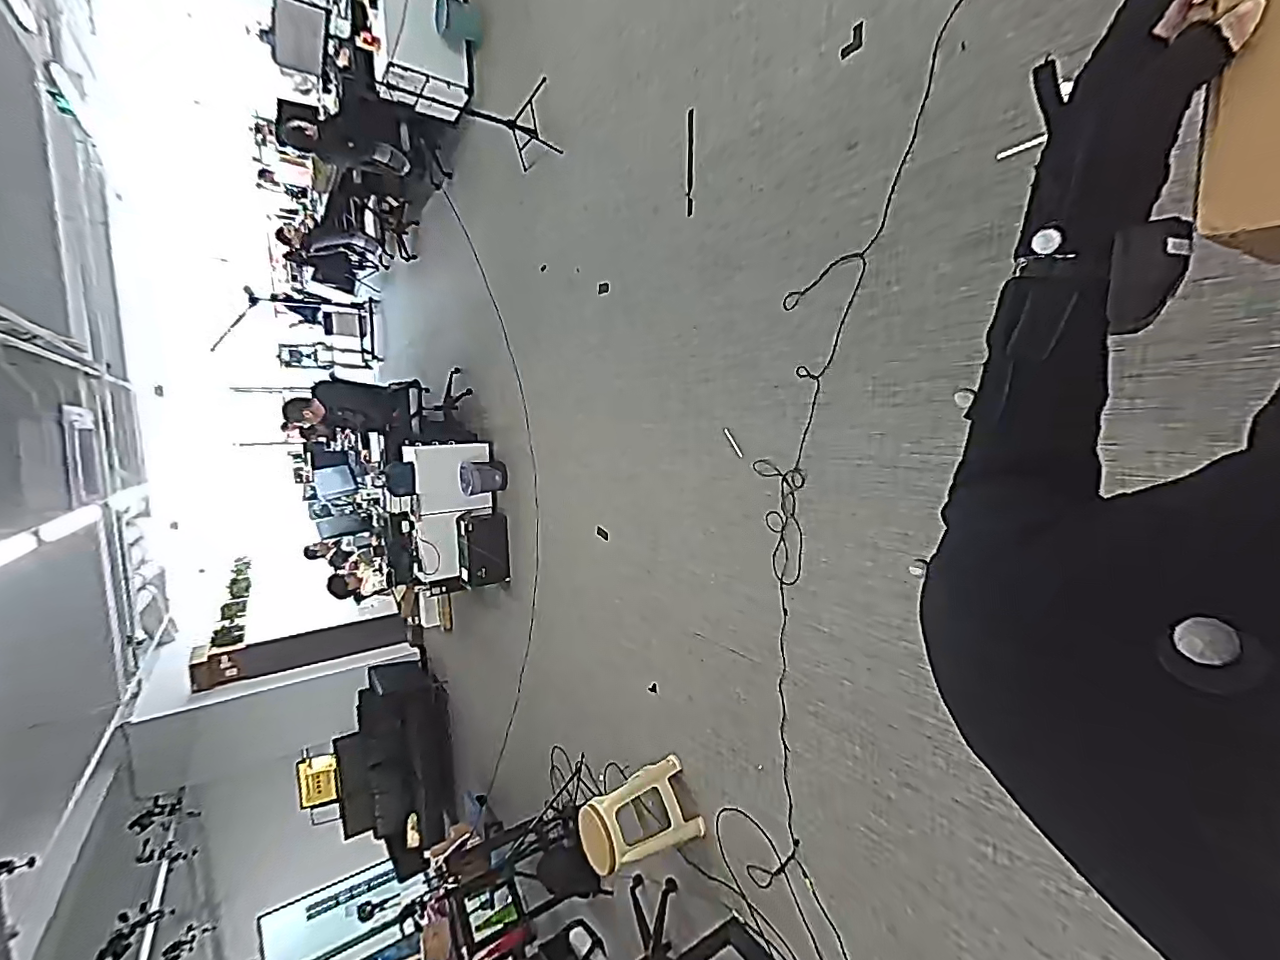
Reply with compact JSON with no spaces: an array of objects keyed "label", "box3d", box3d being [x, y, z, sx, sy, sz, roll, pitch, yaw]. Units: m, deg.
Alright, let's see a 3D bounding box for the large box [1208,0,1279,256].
[{"label":"large box","box3d":[0.553,-0.307,0.222,0.408,0.320,0.320,9,109,52]}]
